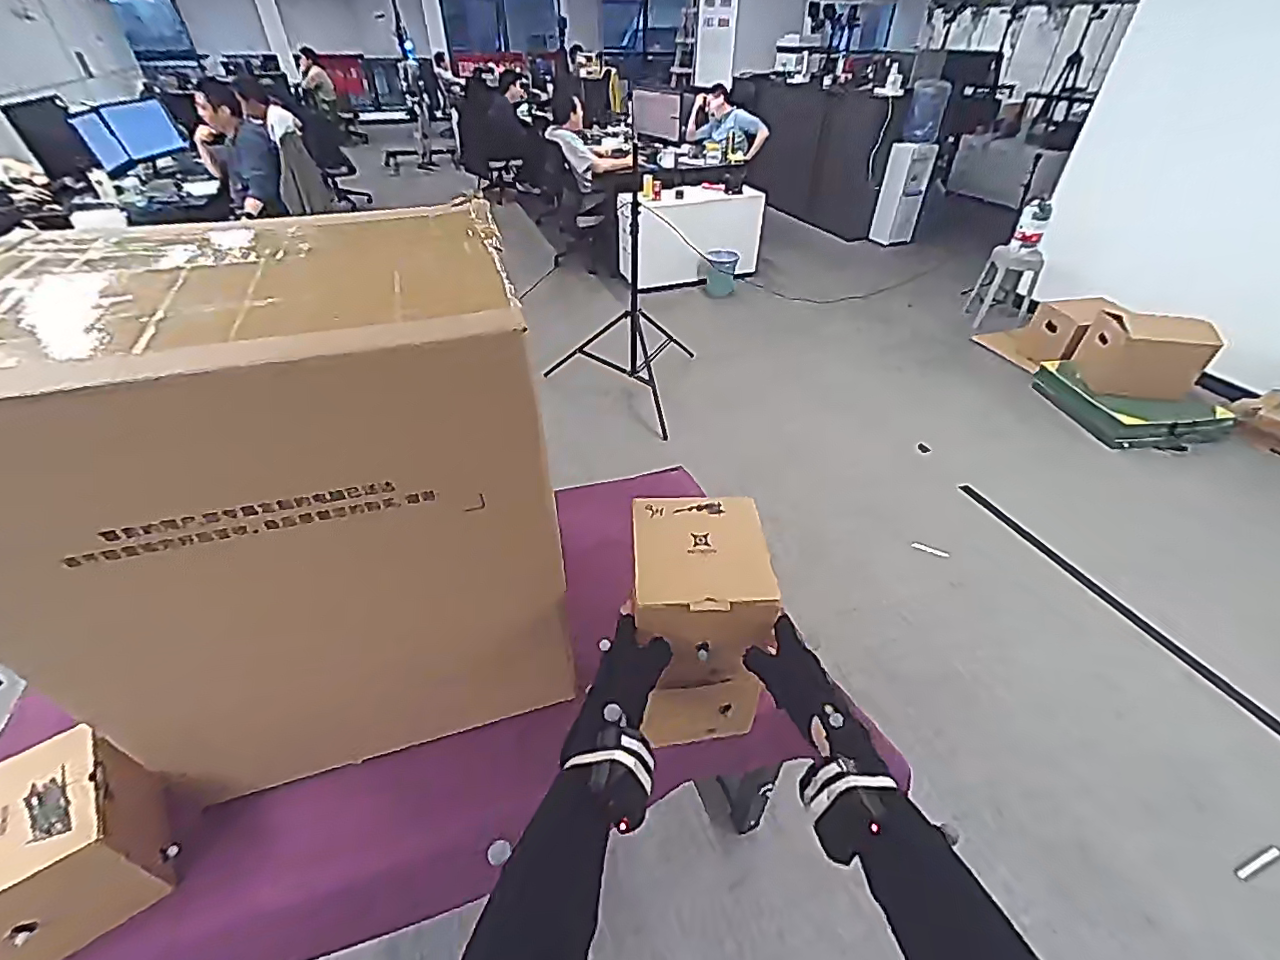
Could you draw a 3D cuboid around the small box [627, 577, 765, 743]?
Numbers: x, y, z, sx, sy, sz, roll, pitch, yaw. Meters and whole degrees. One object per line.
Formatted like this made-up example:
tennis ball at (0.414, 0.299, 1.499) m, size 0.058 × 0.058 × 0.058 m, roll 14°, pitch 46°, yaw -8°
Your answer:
small box at (0.074, 0.274, 0.816) m, size 0.168 × 0.176 × 0.179 m, roll -5°, pitch 39°, yaw -8°
